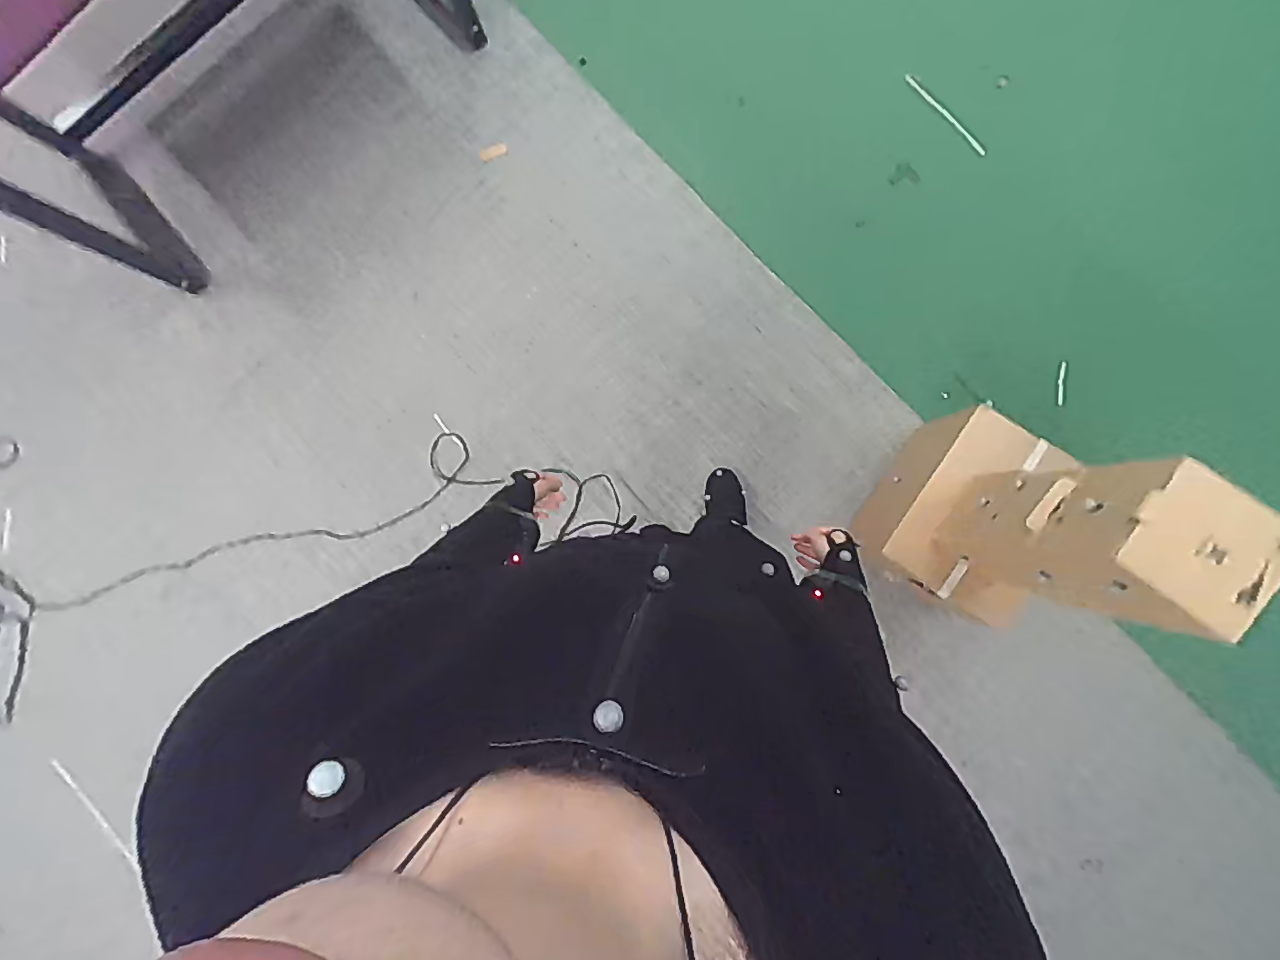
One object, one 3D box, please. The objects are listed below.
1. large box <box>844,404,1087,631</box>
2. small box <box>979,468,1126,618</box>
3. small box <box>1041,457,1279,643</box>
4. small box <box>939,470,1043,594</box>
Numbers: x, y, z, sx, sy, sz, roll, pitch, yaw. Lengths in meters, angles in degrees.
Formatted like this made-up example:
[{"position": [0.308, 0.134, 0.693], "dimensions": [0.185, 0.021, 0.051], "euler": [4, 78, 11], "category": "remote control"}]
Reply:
[{"position": [0.772, 0.090, 1.318], "dimensions": [0.320, 0.320, 0.408], "euler": [34, 89, 4], "category": "large box"}, {"position": [0.725, 0.103, 0.911], "dimensions": [0.179, 0.176, 0.168], "euler": [39, 91, 6], "category": "small box"}, {"position": [0.717, 0.093, 0.747], "dimensions": [0.179, 0.176, 0.168], "euler": [38, 91, 7], "category": "small box"}, {"position": [0.740, 0.101, 1.074], "dimensions": [0.168, 0.176, 0.179], "euler": [38, 91, 6], "category": "small box"}]
